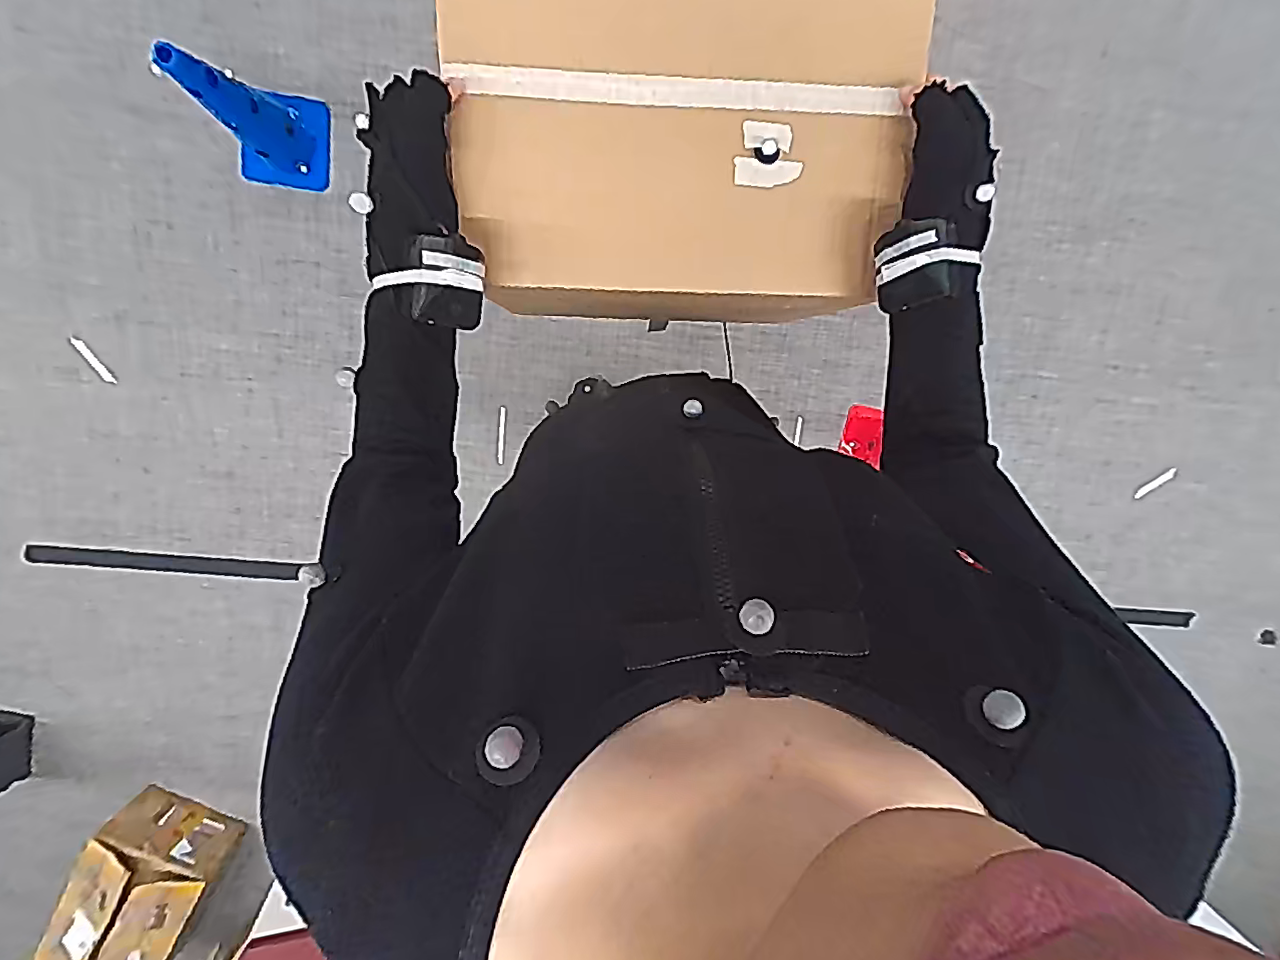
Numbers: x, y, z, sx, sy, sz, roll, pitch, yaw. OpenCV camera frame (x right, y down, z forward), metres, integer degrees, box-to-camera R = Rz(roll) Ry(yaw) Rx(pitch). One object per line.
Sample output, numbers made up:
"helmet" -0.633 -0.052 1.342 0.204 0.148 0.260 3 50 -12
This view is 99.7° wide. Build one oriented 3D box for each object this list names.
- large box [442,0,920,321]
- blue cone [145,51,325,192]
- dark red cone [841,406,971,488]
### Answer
"large box" 0.025 -0.352 0.603 0.408 0.320 0.320 0 102 -5
"blue cone" -0.840 -0.761 1.122 0.192 0.380 0.193 8 100 -4
"dark red cone" 0.663 -0.055 1.306 0.201 0.394 0.202 11 100 -4
